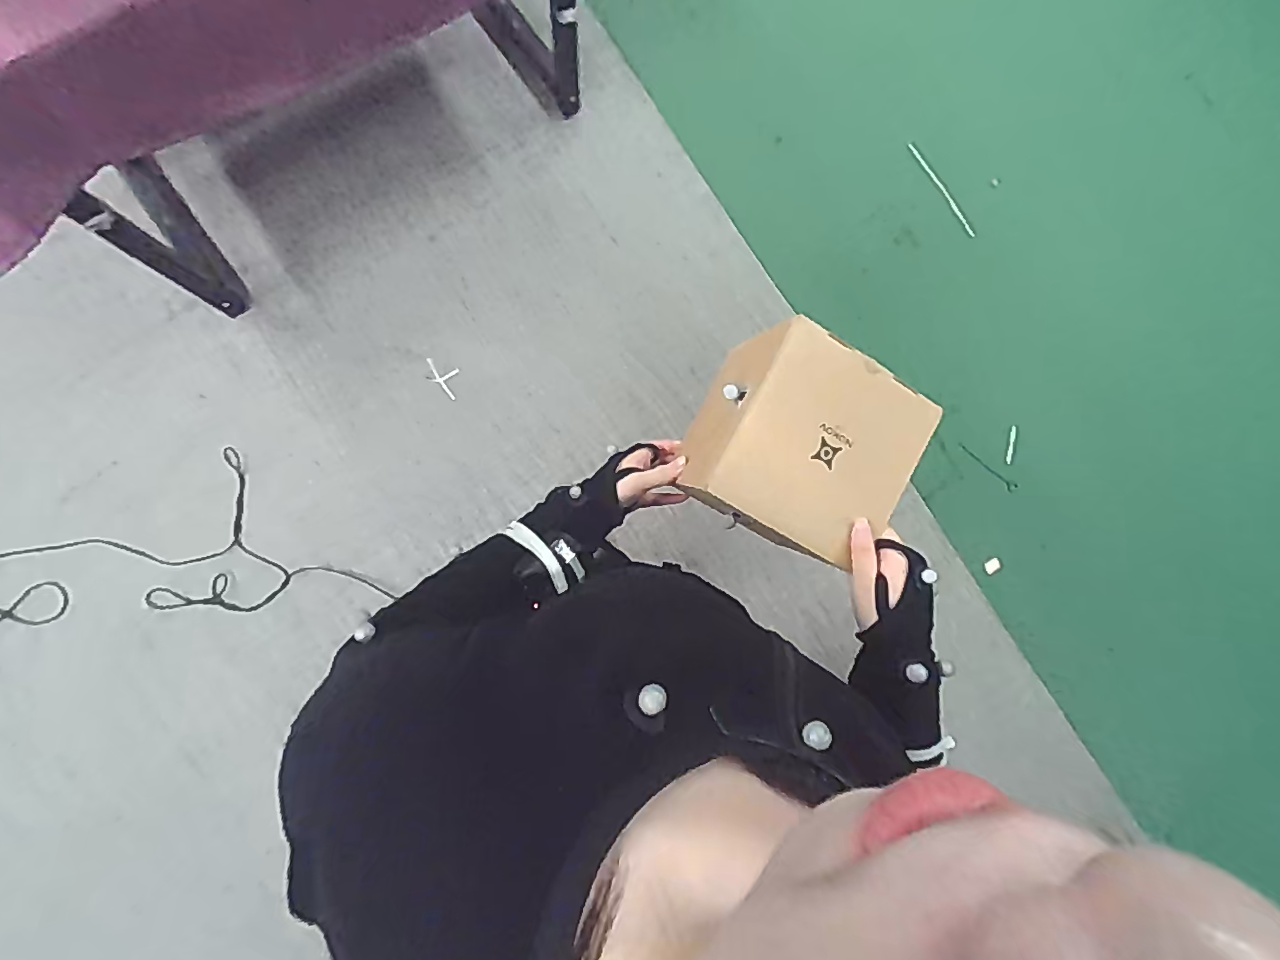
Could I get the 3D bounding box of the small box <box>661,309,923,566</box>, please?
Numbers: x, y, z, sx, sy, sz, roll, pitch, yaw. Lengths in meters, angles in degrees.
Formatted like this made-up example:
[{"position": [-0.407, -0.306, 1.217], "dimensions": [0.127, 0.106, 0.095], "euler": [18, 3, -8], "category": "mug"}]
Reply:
[{"position": [0.136, -0.038, 0.555], "dimensions": [0.168, 0.176, 0.179], "euler": [29, 87, -11], "category": "small box"}]
